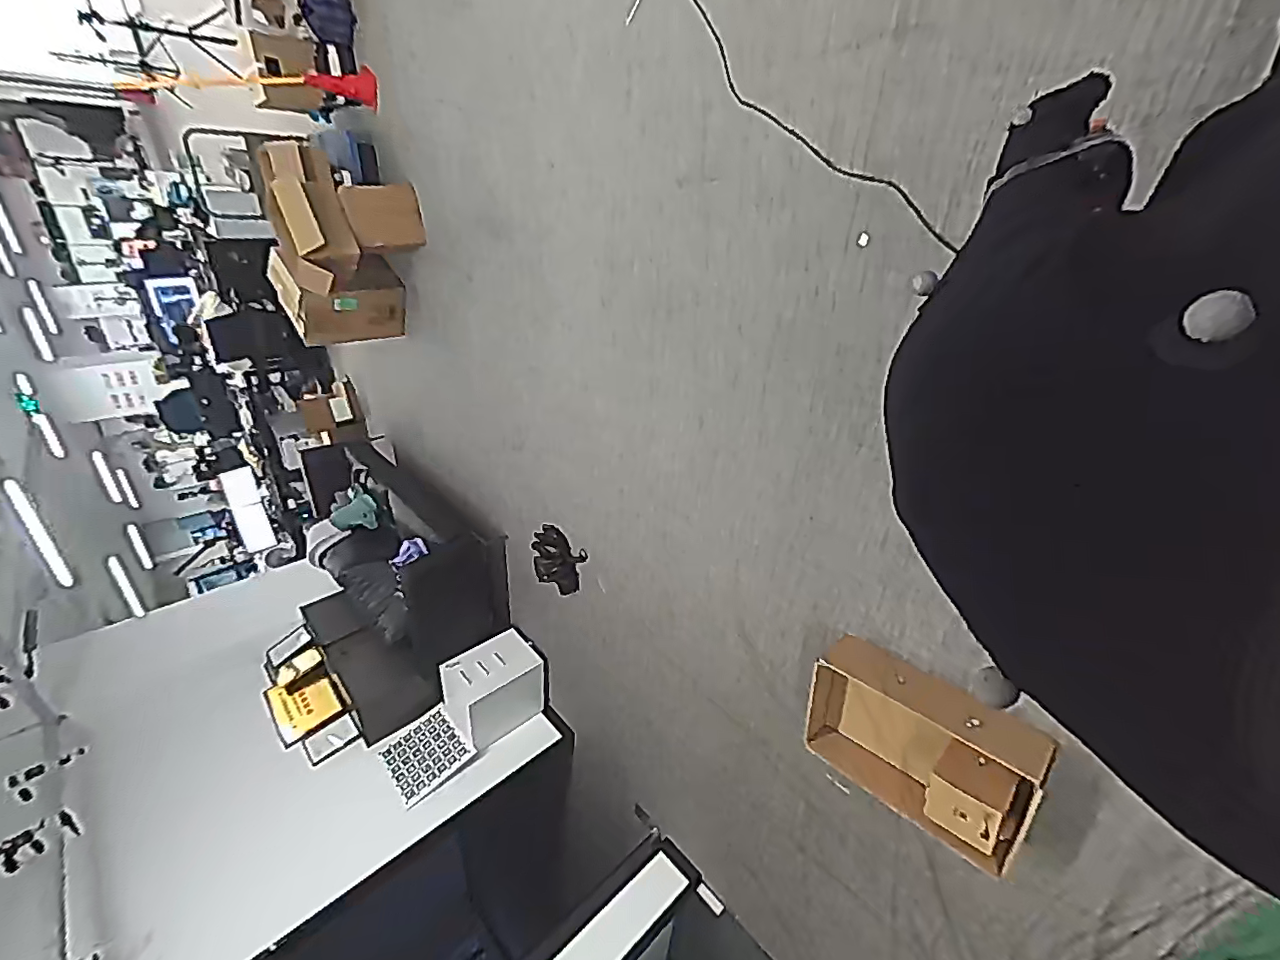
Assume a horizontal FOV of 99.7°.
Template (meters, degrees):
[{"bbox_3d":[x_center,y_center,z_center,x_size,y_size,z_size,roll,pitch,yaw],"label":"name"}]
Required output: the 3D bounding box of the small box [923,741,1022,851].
[{"bbox_3d":[0.929,0.870,1.514,0.179,0.176,0.168,21,123,45],"label":"small box"}]
